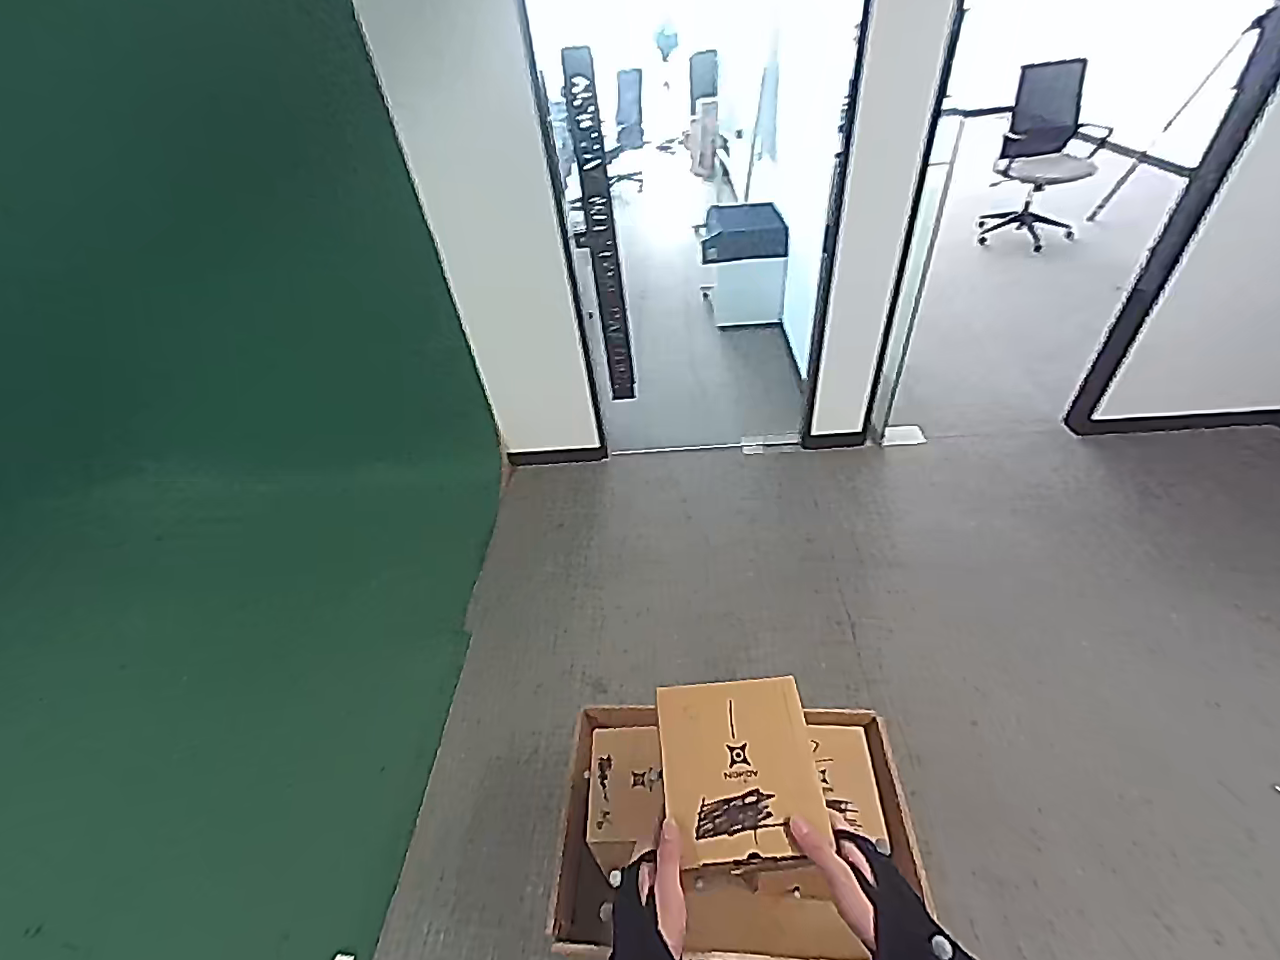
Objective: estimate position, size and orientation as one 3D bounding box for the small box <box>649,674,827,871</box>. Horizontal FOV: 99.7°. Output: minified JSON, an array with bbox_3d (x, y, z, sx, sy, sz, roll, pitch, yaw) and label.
[{"bbox_3d":[0.101,0.349,0.638,0.168,0.176,0.179,-5,50,-1],"label":"small box"}]

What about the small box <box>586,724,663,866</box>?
[{"bbox_3d":[0.013,0.524,0.901,0.179,0.176,0.168,-3,42,4],"label":"small box"}]

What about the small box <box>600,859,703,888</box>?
[{"bbox_3d":[0.027,0.645,1.012,0.179,0.176,0.168,-1,42,4],"label":"small box"}]
